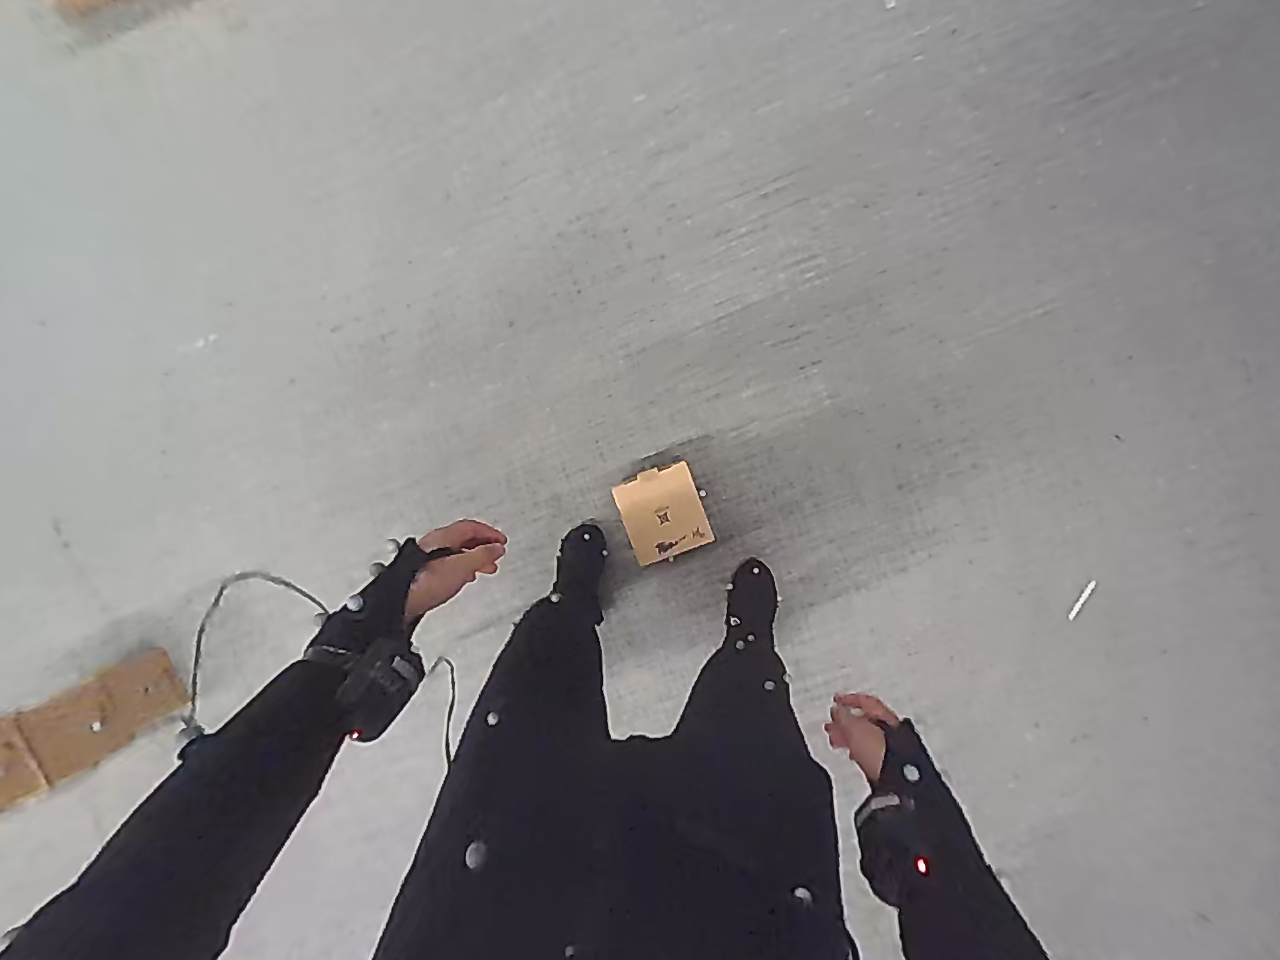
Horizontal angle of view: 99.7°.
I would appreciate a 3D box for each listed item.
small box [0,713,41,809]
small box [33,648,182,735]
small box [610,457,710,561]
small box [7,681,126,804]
[{"bbox_3d":[-1.260,0.554,0.964,0.179,0.176,0.168,-26,91,4],"label":"small box"},{"bbox_3d":[-1.252,0.529,1.289,0.179,0.176,0.168,-29,90,5],"label":"small box"},{"bbox_3d":[0.044,0.058,1.183,0.168,0.176,0.179,-20,91,4],"label":"small box"},{"bbox_3d":[-1.251,0.552,1.126,0.179,0.176,0.168,-25,92,4],"label":"small box"}]
